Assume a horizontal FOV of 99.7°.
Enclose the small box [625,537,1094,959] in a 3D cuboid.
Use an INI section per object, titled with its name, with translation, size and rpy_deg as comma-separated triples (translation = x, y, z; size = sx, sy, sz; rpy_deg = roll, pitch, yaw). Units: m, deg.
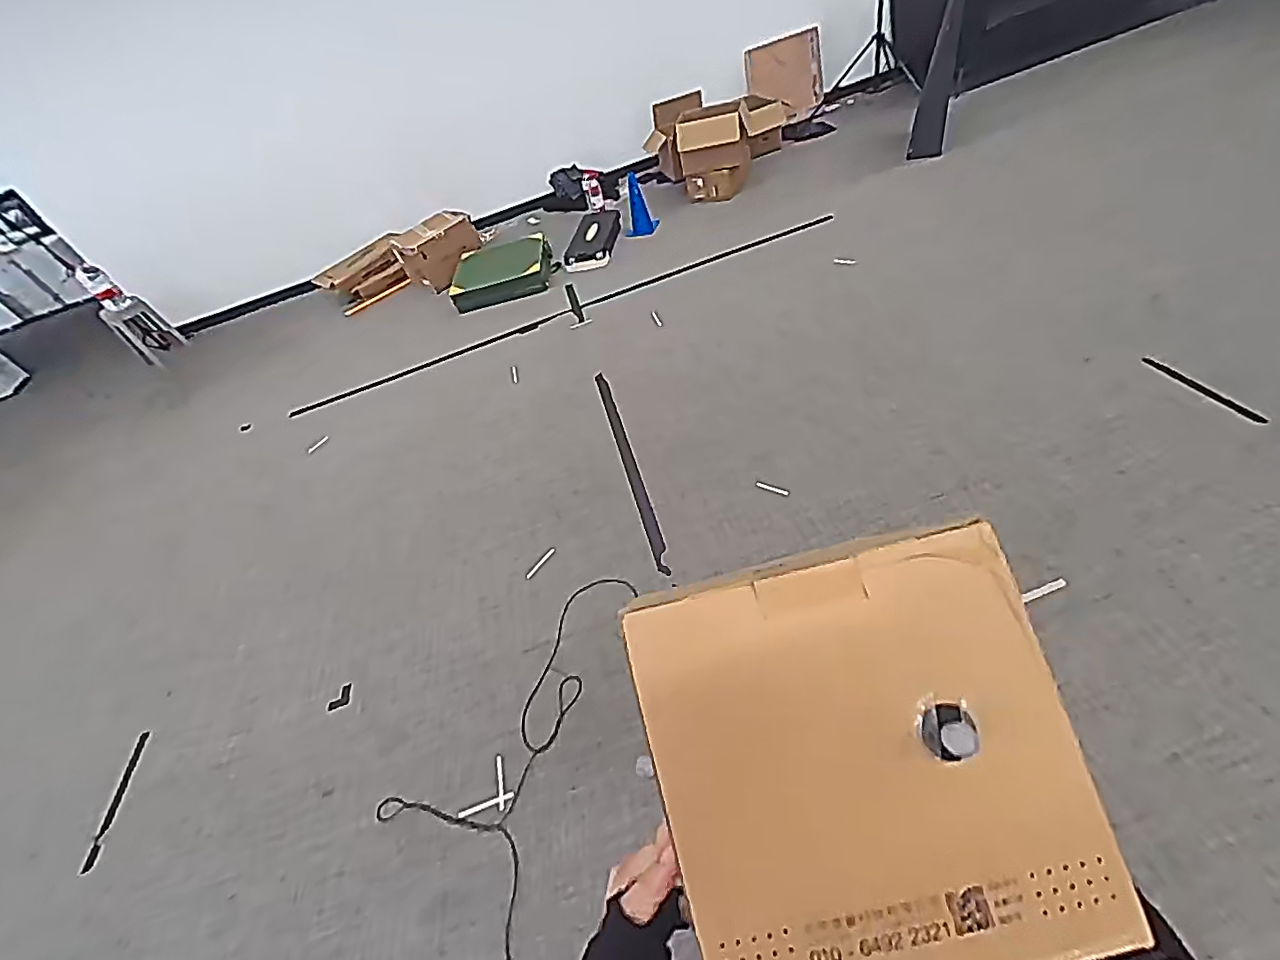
[small box]
translation = 0.100, 0.139, 0.313
size = 0.168, 0.179, 0.176
rpy_deg = -16, 79, 4
